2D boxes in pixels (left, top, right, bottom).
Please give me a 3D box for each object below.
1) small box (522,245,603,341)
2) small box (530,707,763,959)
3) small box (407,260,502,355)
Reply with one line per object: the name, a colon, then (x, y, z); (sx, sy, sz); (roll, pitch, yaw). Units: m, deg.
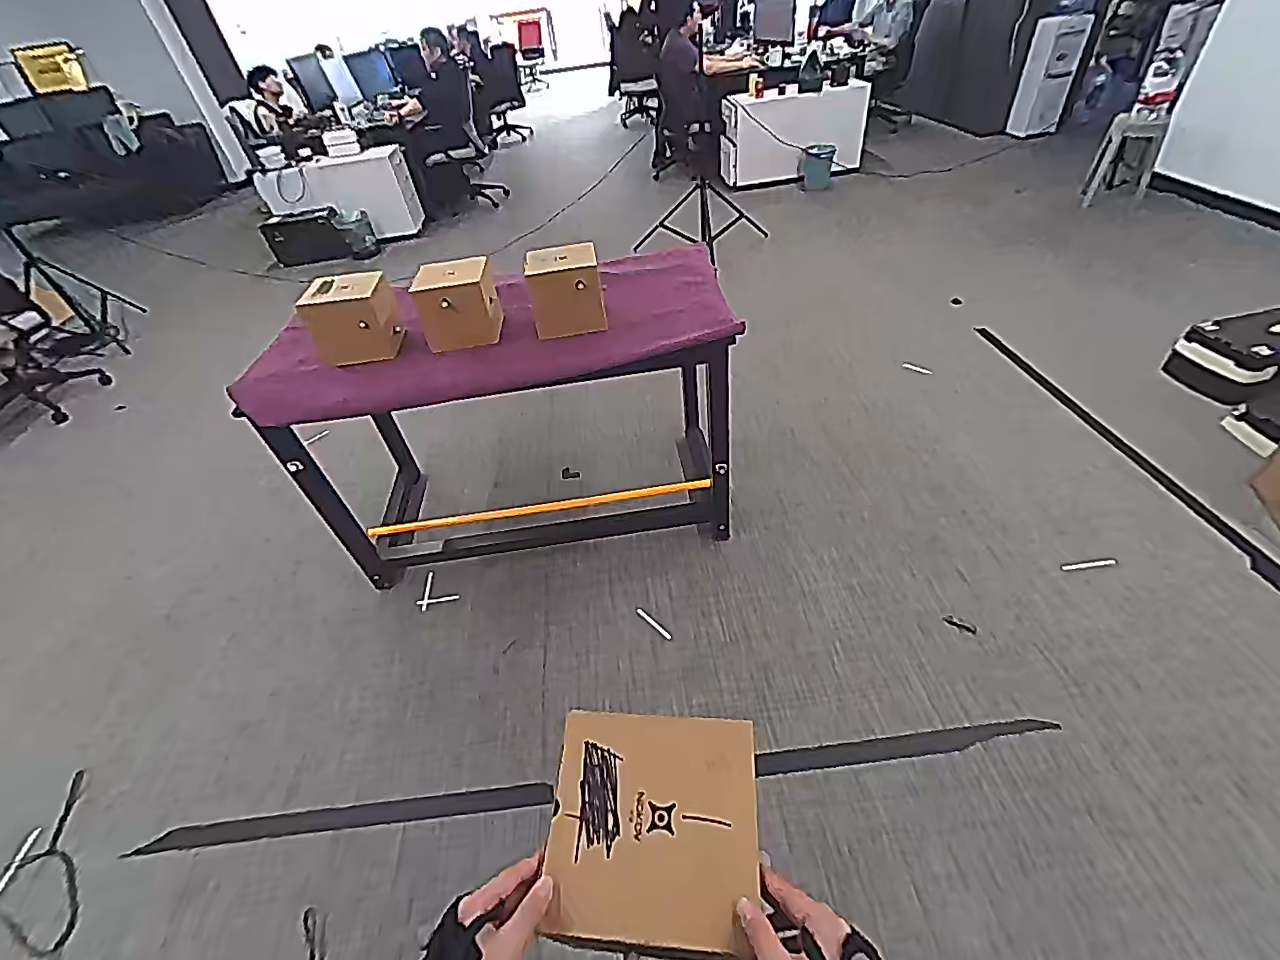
small box: (-0.191, -0.473, 1.375); (0.179, 0.176, 0.168); (-10, 41, -1)
small box: (0.018, 0.330, 0.505); (0.179, 0.176, 0.168); (0, 47, 7)
small box: (-0.467, -0.442, 1.394); (0.179, 0.176, 0.168); (-9, 42, 0)
